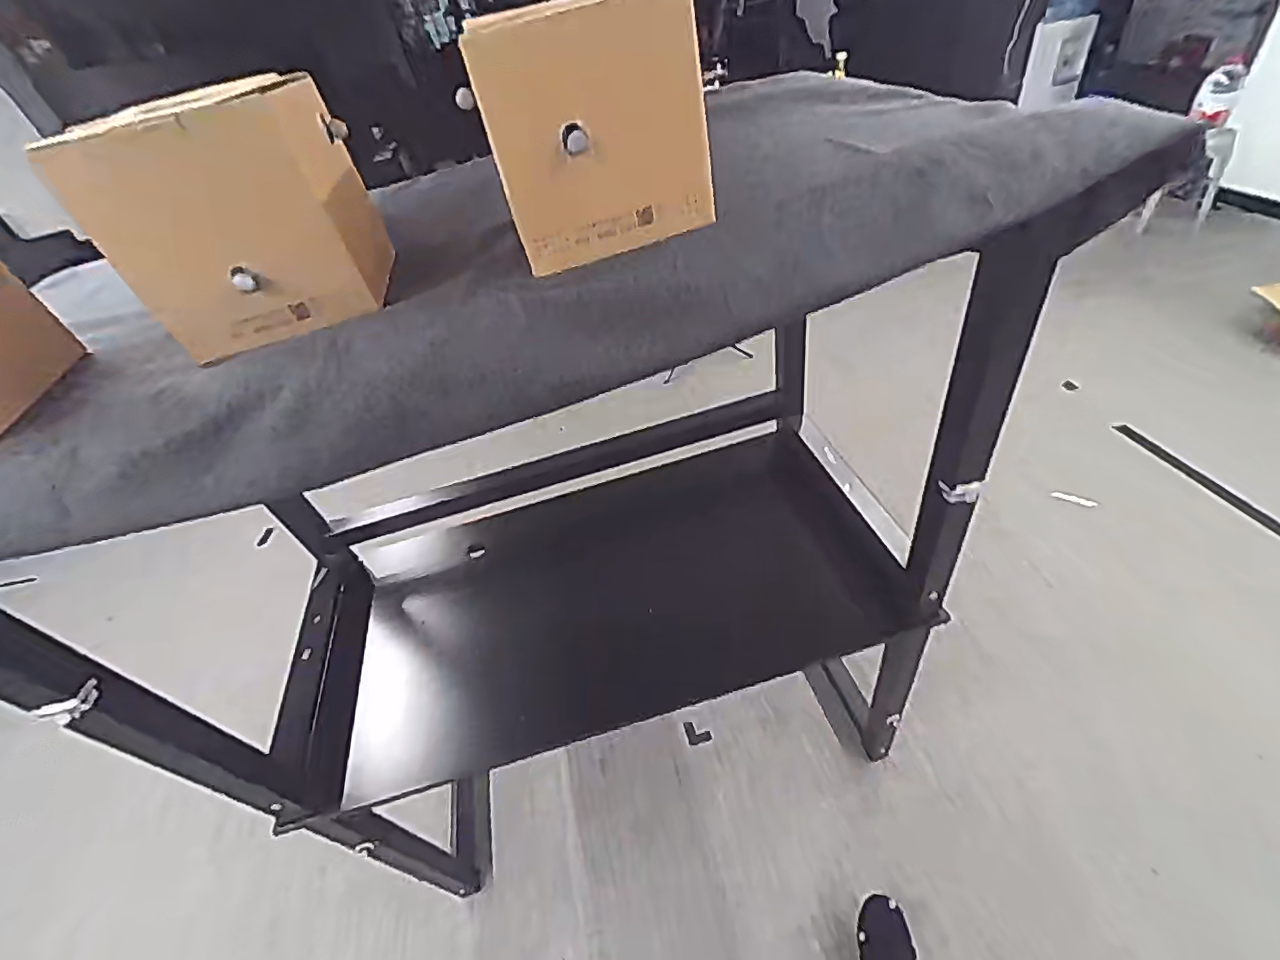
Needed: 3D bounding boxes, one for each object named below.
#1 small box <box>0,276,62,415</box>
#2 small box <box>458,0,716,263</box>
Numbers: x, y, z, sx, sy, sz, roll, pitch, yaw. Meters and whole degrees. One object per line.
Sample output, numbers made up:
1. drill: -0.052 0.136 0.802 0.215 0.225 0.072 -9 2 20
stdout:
1. small box: -0.622 -0.110 0.411 0.168 0.176 0.179 -19 43 -5
2. small box: -0.043 -0.305 0.465 0.168 0.176 0.179 -18 41 -4
